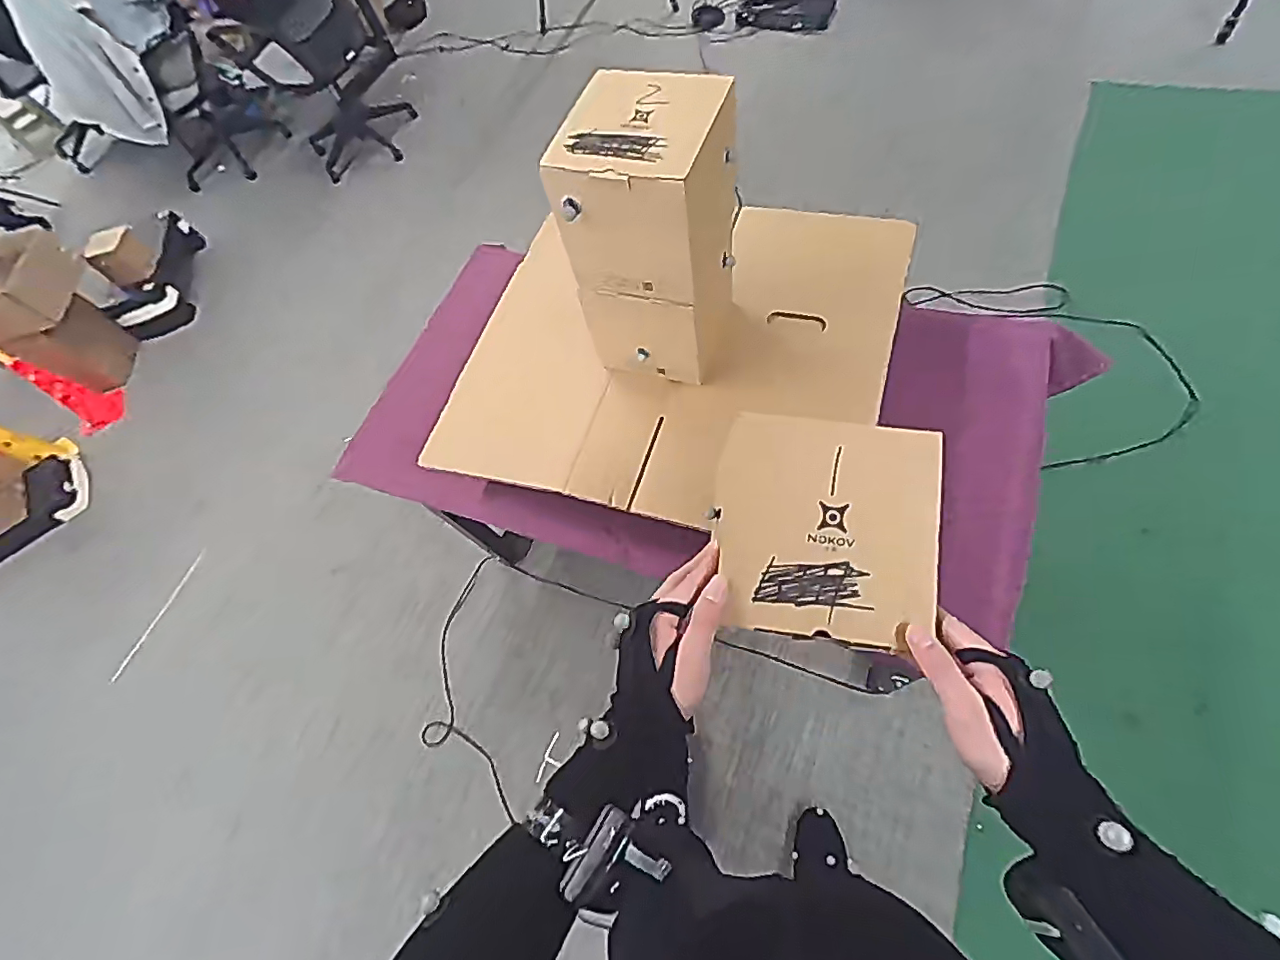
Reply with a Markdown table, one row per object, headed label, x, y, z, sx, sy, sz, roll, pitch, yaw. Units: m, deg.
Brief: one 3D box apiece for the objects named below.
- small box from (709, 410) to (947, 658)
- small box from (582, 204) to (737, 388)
| label | x | y | z | sx | sy | sz | roll | pitch | yaw |
| --- | --- | --- | --- | --- | --- | --- | --- | --- | --- |
| small box | 0.156 | 0.051 | 0.501 | 0.168 | 0.176 | 0.179 | 8 | 80 | 5 |
| small box | 0.037 | -0.265 | 0.791 | 0.168 | 0.176 | 0.179 | 15 | 68 | 16 |
